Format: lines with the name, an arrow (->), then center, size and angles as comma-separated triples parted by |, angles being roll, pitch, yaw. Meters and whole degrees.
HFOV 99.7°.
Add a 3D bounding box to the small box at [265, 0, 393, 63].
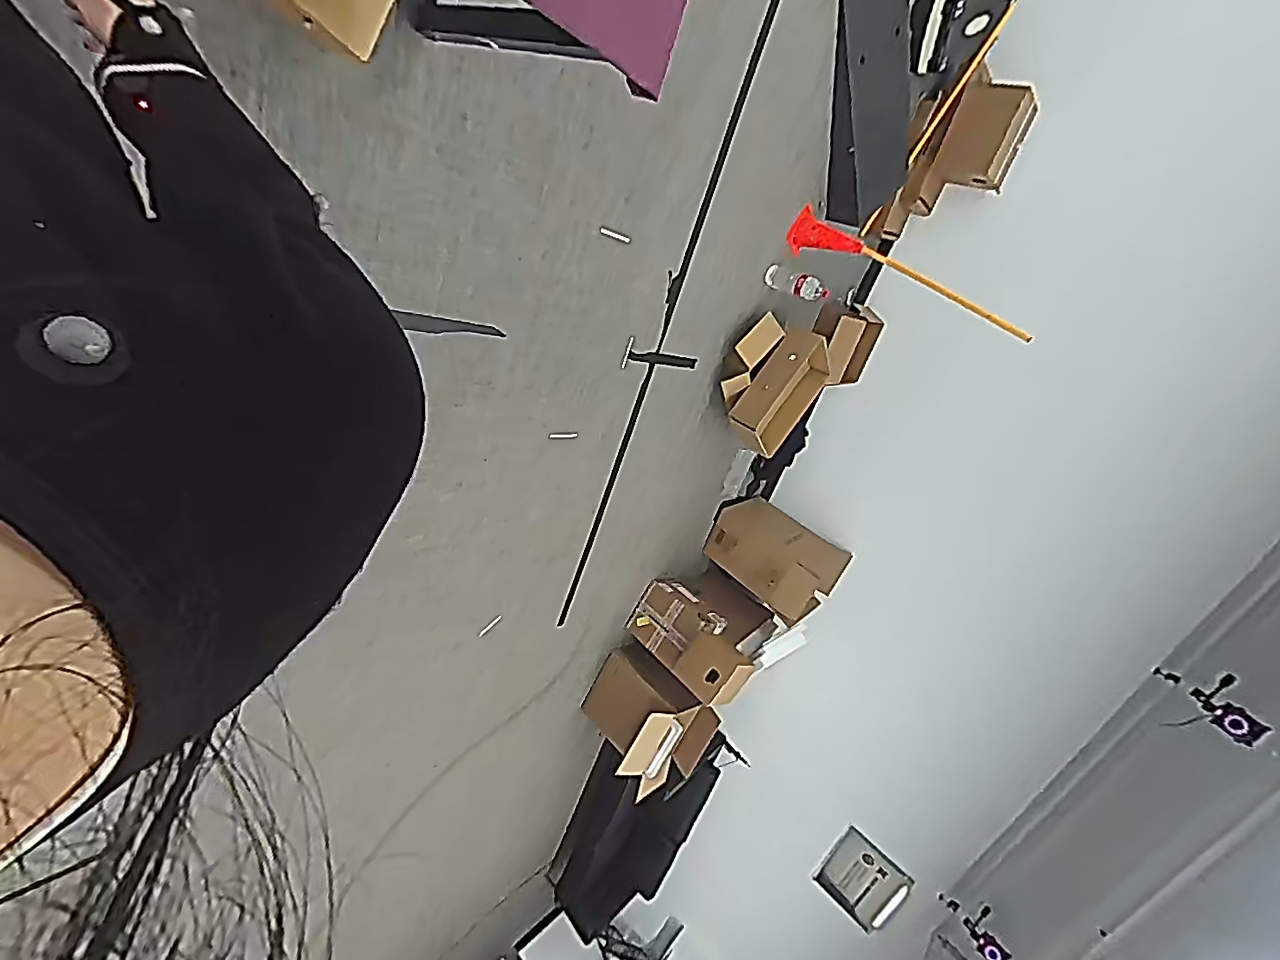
small box -> -0.599, -0.938, 1.016 | 0.179, 0.176, 0.168 | 17, 105, -57
